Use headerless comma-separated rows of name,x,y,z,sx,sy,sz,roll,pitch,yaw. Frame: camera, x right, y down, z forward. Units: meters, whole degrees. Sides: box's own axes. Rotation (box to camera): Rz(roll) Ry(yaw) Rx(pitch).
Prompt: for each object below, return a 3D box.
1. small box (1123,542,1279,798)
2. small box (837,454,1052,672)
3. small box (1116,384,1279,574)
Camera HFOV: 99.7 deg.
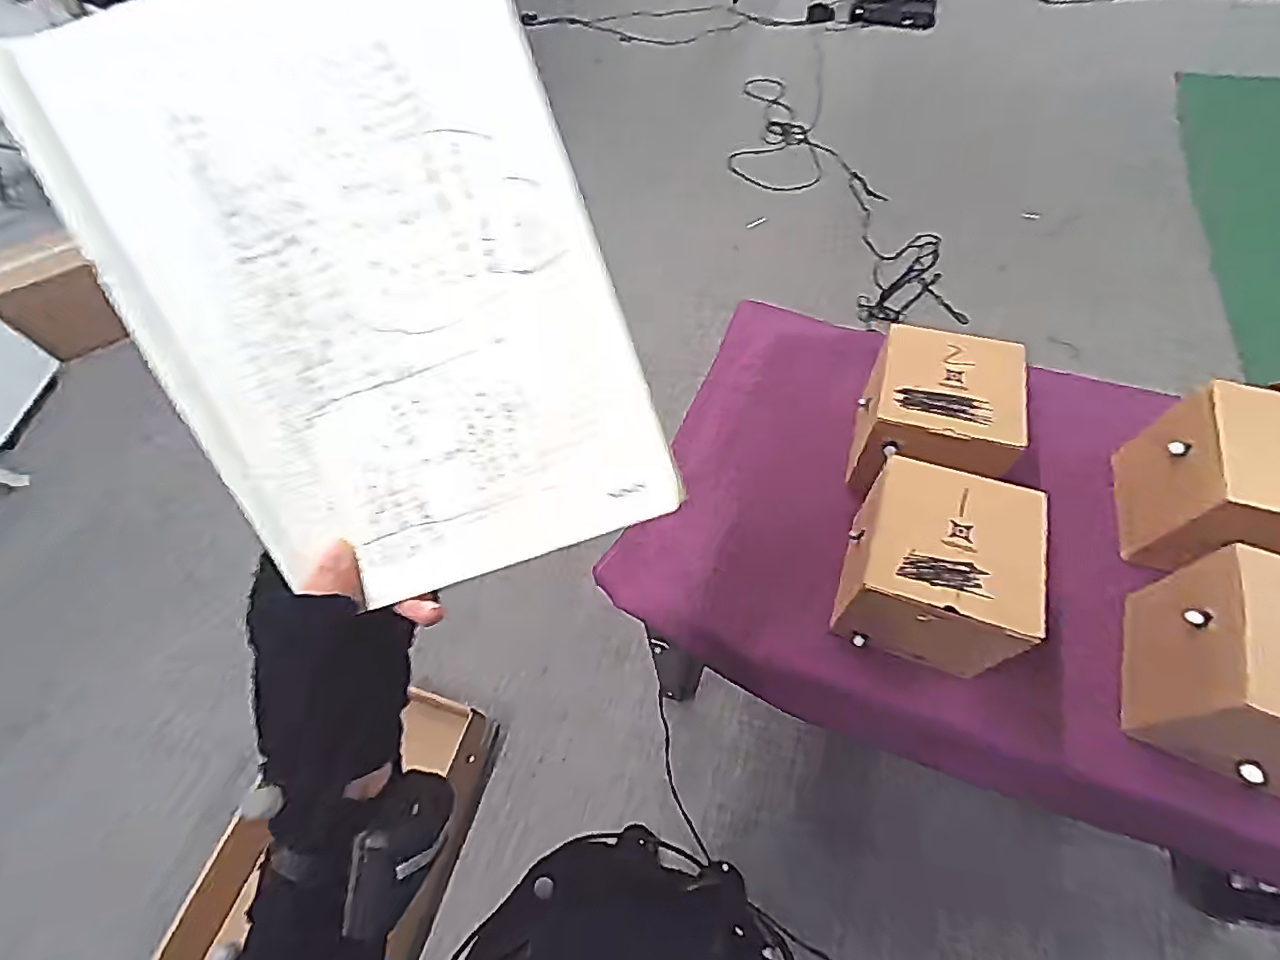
small box,0.641,0.198,0.549,0.168,0.176,0.179,21,62,17
small box,0.344,0.103,0.636,0.168,0.176,0.179,18,61,16
small box,0.728,0.017,0.657,0.168,0.176,0.179,16,61,15
